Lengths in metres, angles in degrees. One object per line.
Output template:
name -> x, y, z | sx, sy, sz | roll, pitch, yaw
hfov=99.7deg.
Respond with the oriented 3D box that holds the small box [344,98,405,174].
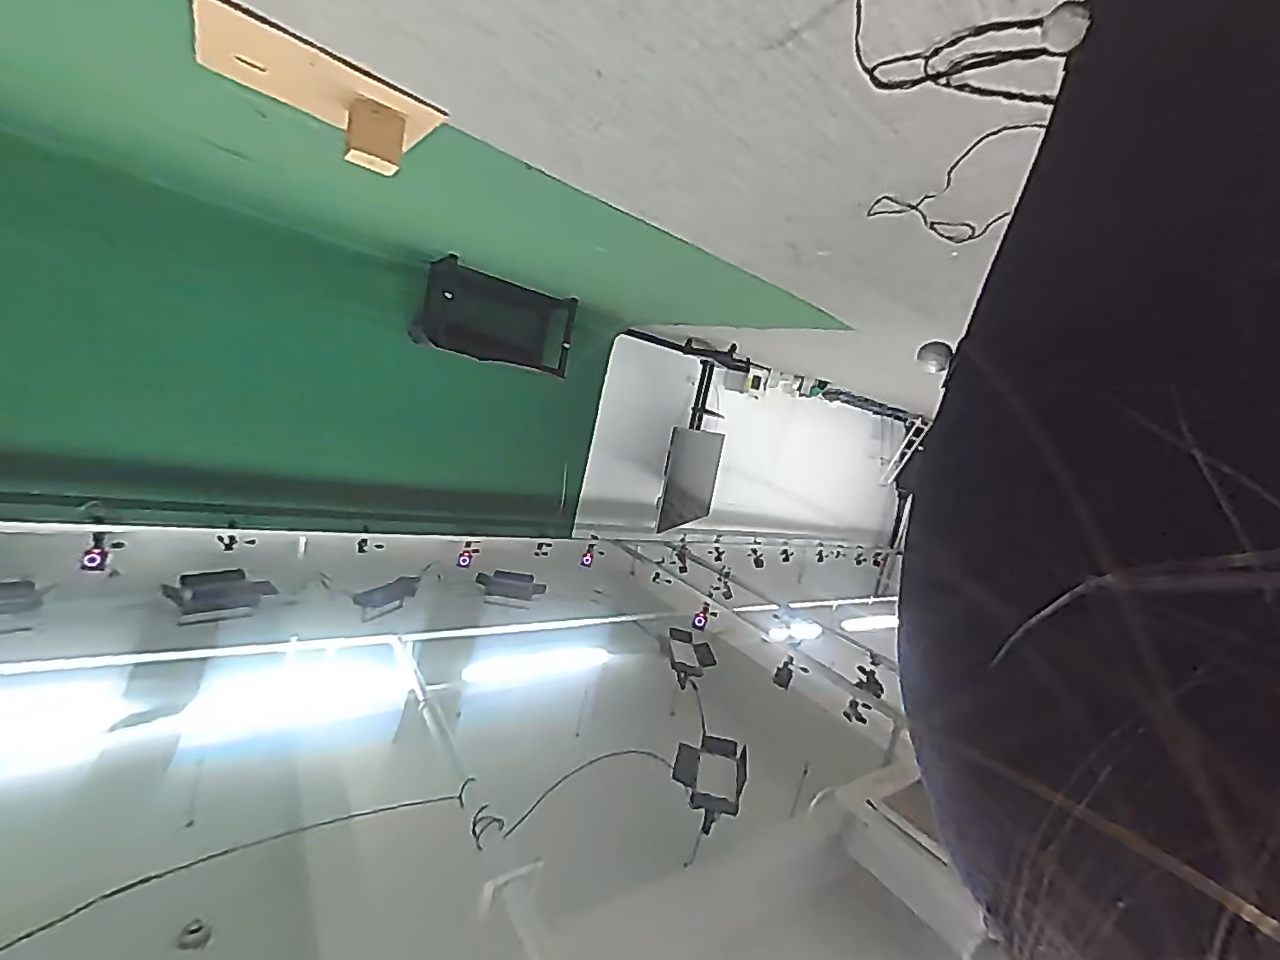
small box -> -0.993, -1.282, 2.022 | 0.168, 0.176, 0.179 | 4, -169, -38
